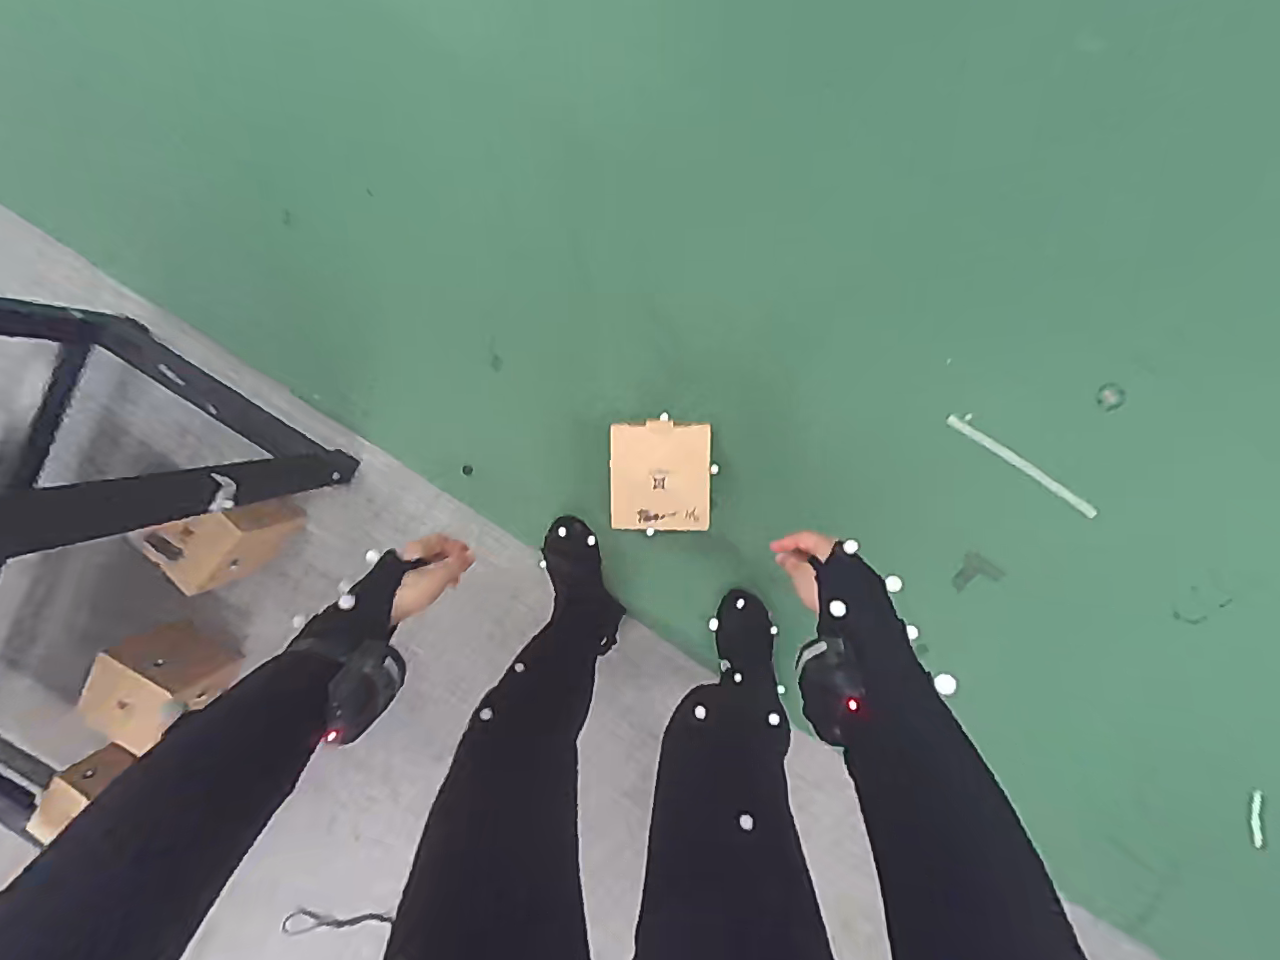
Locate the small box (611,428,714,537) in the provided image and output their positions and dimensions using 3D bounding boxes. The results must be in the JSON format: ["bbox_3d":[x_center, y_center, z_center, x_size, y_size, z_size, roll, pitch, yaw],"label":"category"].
[{"bbox_3d":[0.042,-0.003,0.962,0.168,0.176,0.179,2,97,5],"label":"small box"}]

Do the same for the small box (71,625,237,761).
[{"bbox_3d":[-1.002,0.433,1.131,0.179,0.176,0.168,31,99,2],"label":"small box"}]

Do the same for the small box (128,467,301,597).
[{"bbox_3d":[-0.825,0.094,1.066,0.179,0.176,0.168,-44,92,8],"label":"small box"}]

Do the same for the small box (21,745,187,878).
[{"bbox_3d":[-1.162,0.703,1.186,0.179,0.176,0.168,37,100,1],"label":"small box"}]
